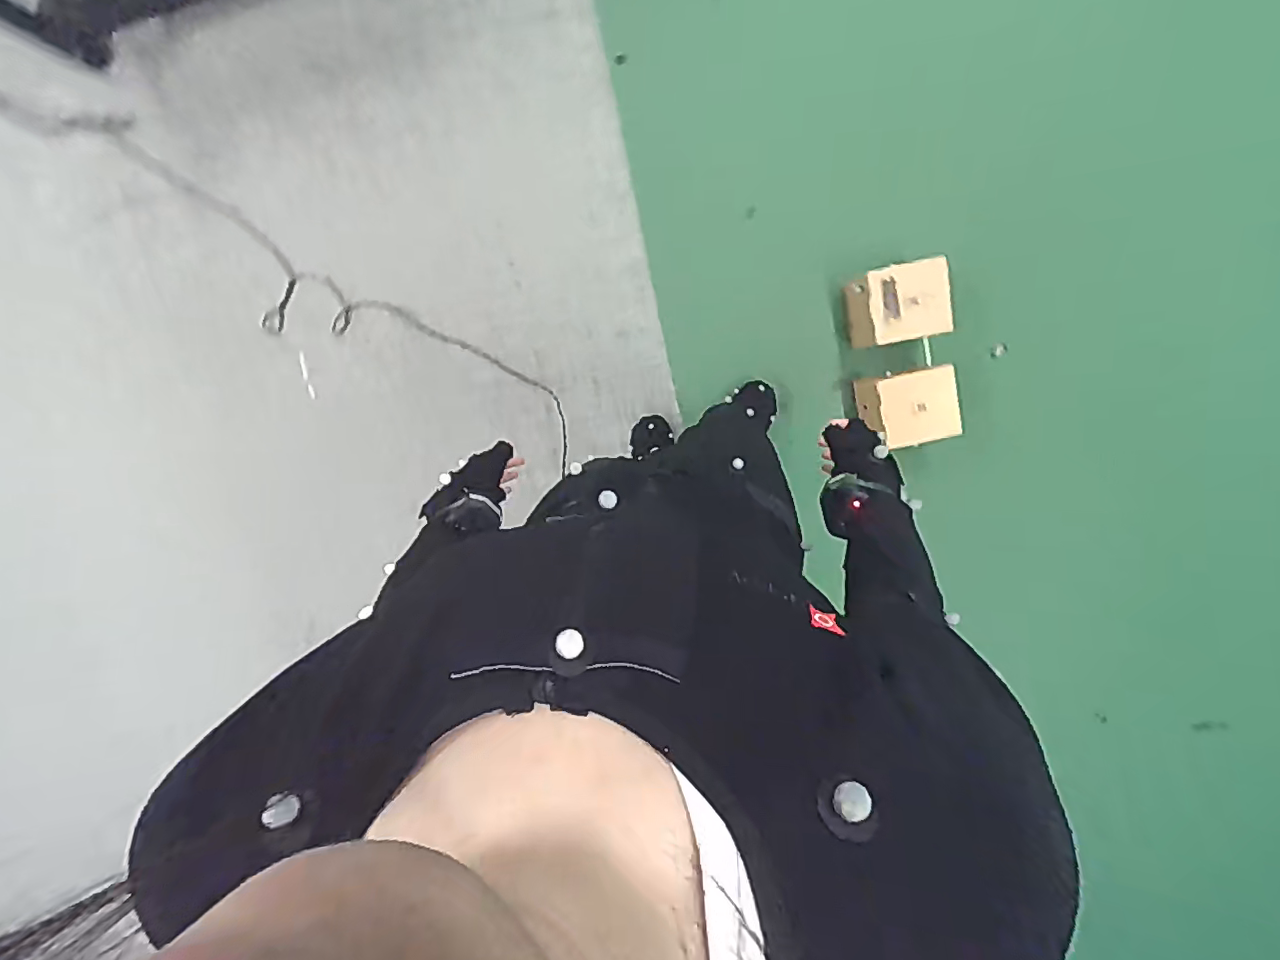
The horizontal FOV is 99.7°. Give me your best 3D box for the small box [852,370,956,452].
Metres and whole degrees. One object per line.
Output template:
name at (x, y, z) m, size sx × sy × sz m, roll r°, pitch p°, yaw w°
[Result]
small box at (0.654, -0.179, 1.353) m, size 0.179 × 0.176 × 0.168 m, roll -12°, pitch 100°, yaw 6°
